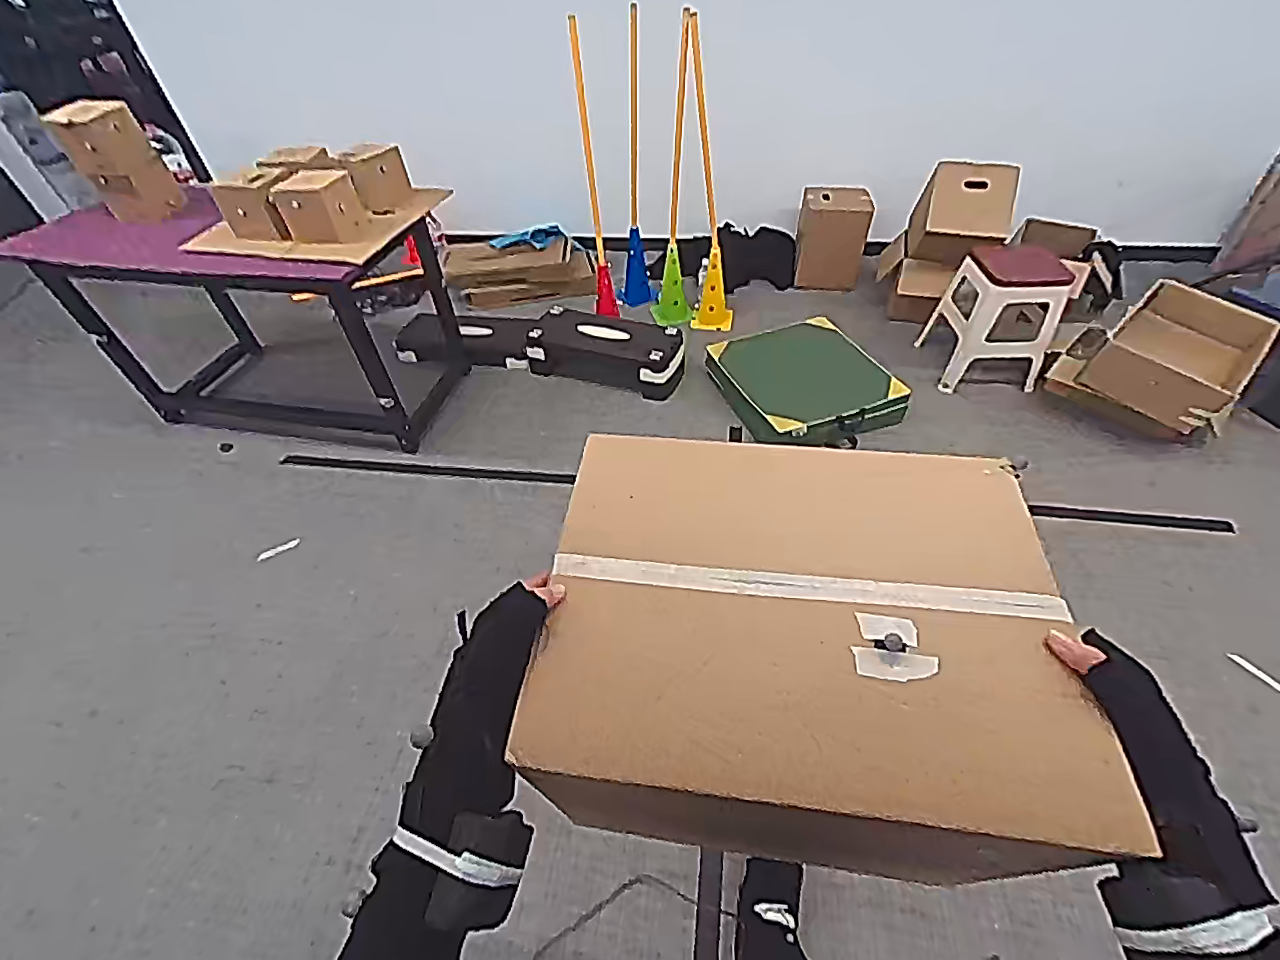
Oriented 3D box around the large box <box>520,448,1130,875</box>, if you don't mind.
[{"bbox_3d":[0.133,0.189,0.563,0.408,0.320,0.320,4,52,7],"label":"large box"}]
